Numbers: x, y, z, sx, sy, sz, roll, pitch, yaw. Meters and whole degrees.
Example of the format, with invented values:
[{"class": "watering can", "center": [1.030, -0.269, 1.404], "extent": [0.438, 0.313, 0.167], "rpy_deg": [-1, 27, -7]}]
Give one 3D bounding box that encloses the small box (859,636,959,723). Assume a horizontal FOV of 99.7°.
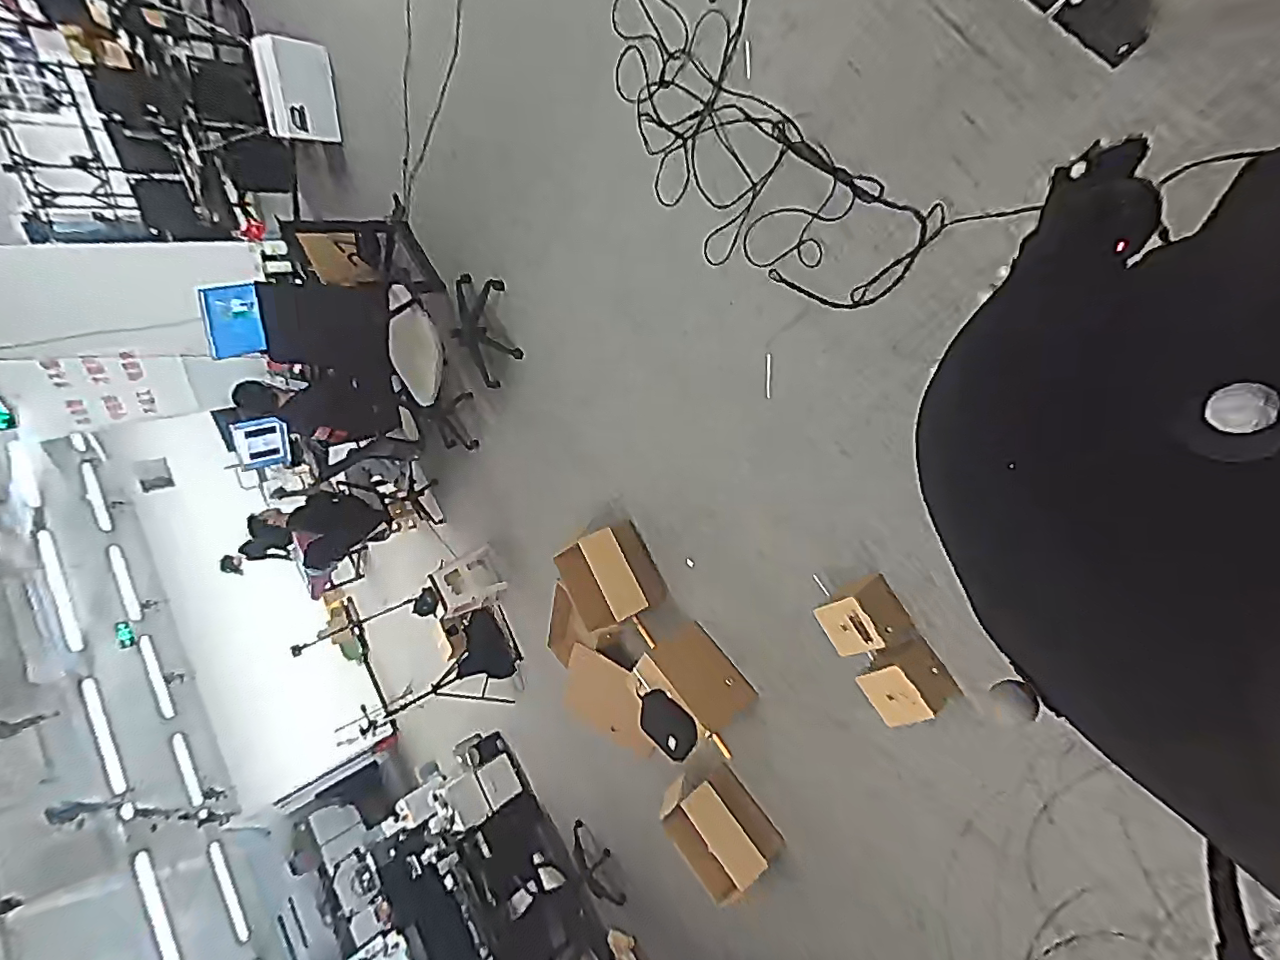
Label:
[{"class": "small box", "center": [0.809, 0.597, 1.622], "extent": [0.168, 0.176, 0.179], "rpy_deg": [56, 141, 14]}]
